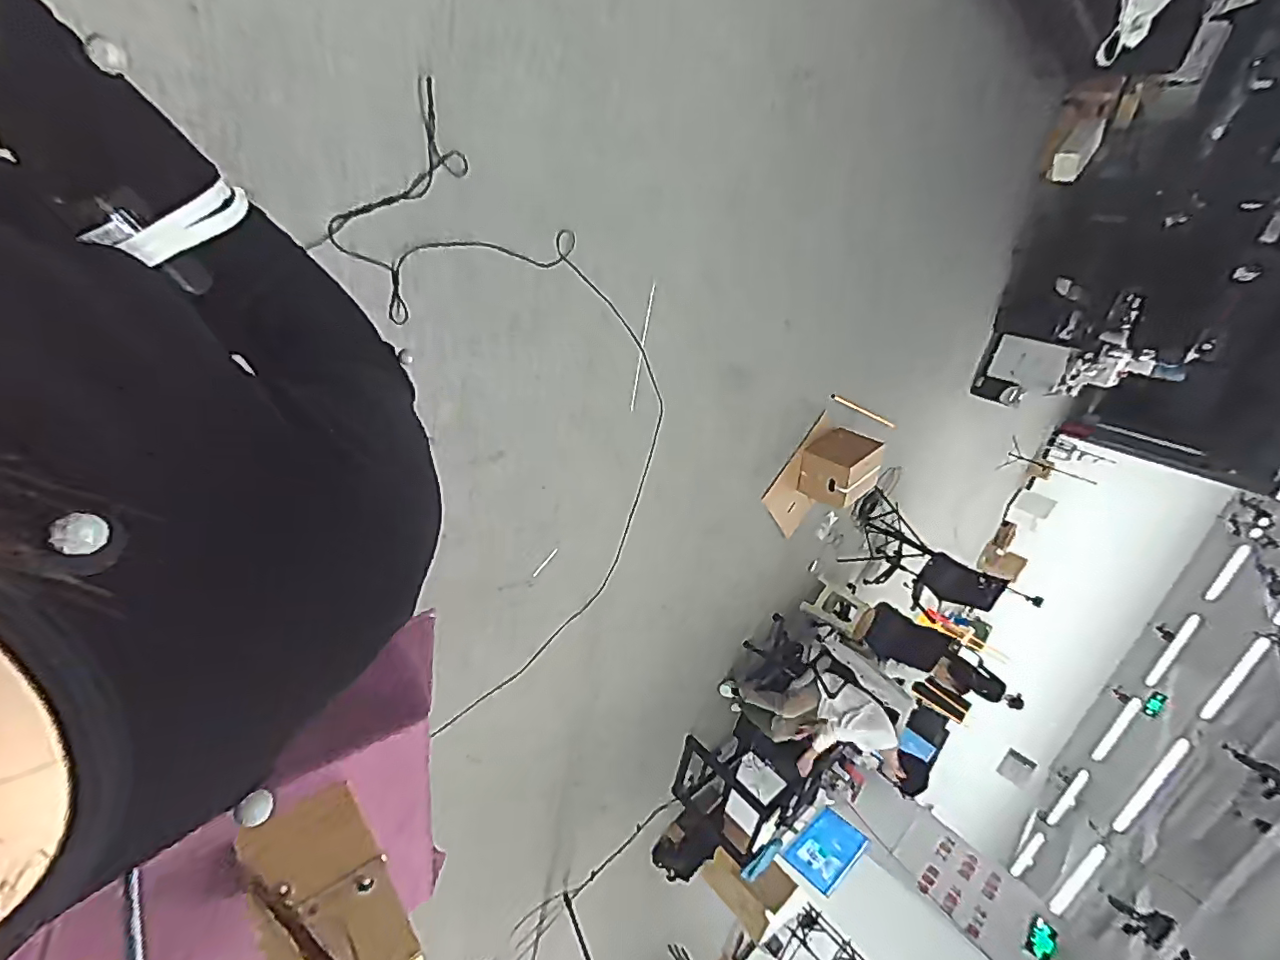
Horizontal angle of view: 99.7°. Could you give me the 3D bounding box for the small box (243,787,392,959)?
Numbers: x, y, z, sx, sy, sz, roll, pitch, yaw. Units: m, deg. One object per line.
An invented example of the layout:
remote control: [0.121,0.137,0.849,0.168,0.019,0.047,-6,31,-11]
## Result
small box: [-0.539,0.669,0.913,0.179,0.176,0.168,-14,123,-41]

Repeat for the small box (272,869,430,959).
small box: [-0.430,0.737,0.810,0.168,0.176,0.179,-14,125,-41]
